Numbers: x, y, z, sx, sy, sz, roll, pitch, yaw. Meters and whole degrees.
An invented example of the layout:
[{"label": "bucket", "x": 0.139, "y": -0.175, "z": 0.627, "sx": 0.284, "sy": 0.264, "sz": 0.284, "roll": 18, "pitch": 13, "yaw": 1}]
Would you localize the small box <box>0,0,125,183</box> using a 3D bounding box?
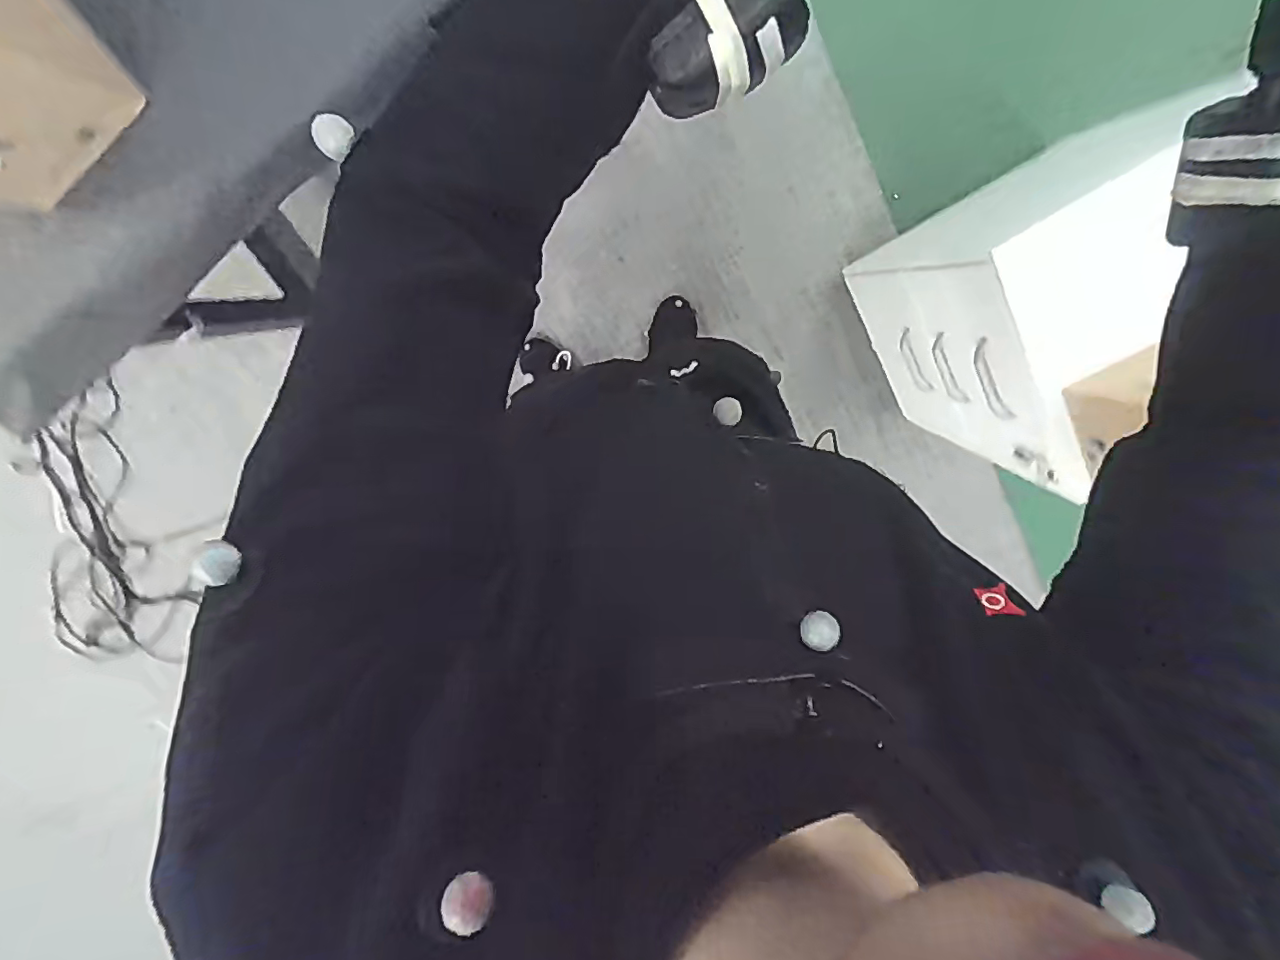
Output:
[{"label": "small box", "x": -0.584, "y": -0.363, "z": 0.423, "sx": 0.168, "sy": 0.176, "sz": 0.179, "roll": -34, "pitch": 105, "yaw": 11}]
